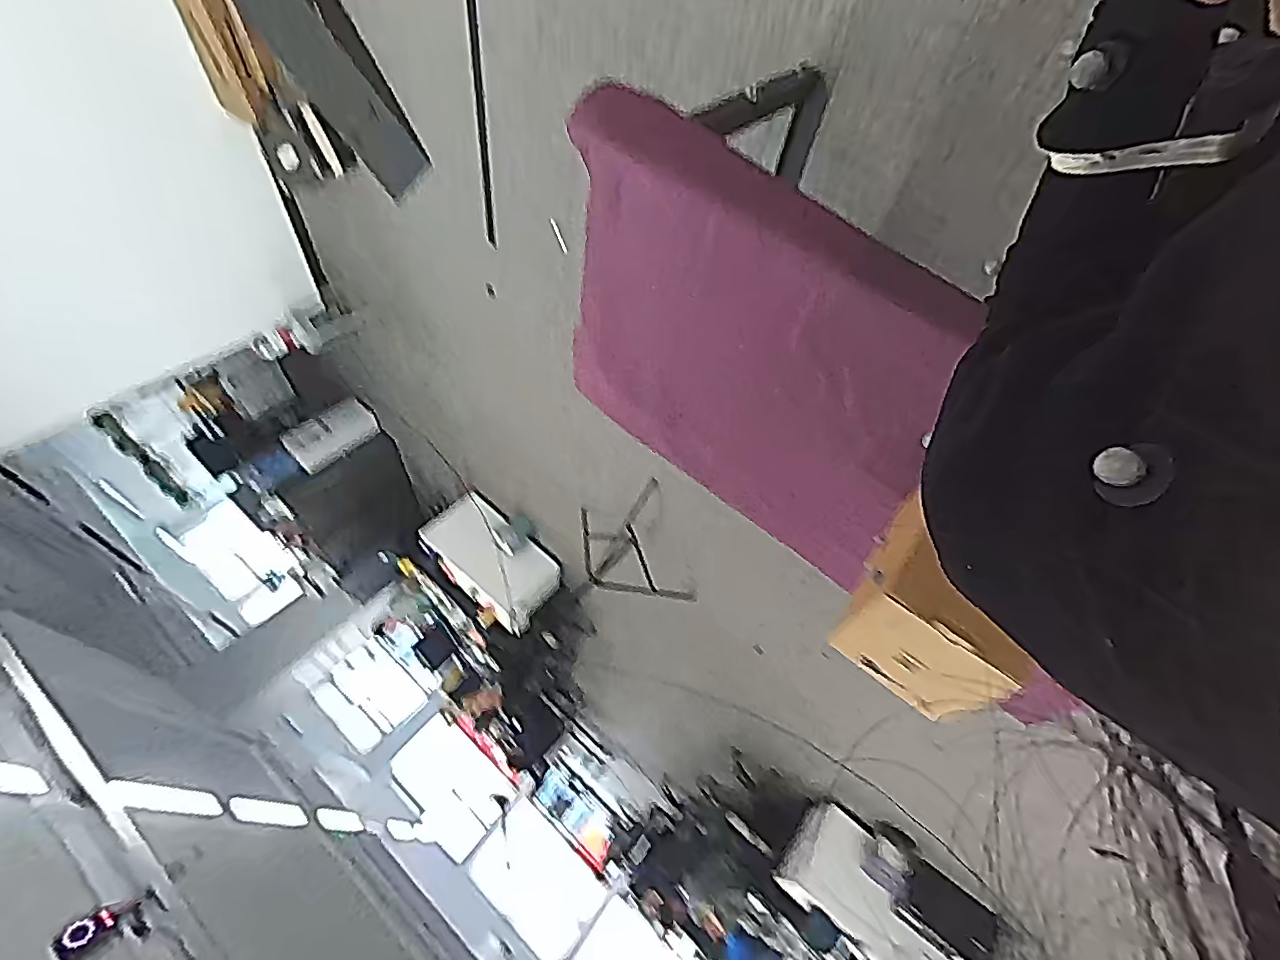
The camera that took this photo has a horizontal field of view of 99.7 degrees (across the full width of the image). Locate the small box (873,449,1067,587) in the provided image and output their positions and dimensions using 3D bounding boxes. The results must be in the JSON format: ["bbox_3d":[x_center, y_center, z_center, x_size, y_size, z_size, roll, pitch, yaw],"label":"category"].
[{"bbox_3d":[0.490,0.086,0.806,0.168,0.176,0.179,37,149,16],"label":"small box"}]

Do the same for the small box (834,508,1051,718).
[{"bbox_3d":[0.390,0.169,0.703,0.168,0.176,0.179,36,148,17],"label":"small box"}]
